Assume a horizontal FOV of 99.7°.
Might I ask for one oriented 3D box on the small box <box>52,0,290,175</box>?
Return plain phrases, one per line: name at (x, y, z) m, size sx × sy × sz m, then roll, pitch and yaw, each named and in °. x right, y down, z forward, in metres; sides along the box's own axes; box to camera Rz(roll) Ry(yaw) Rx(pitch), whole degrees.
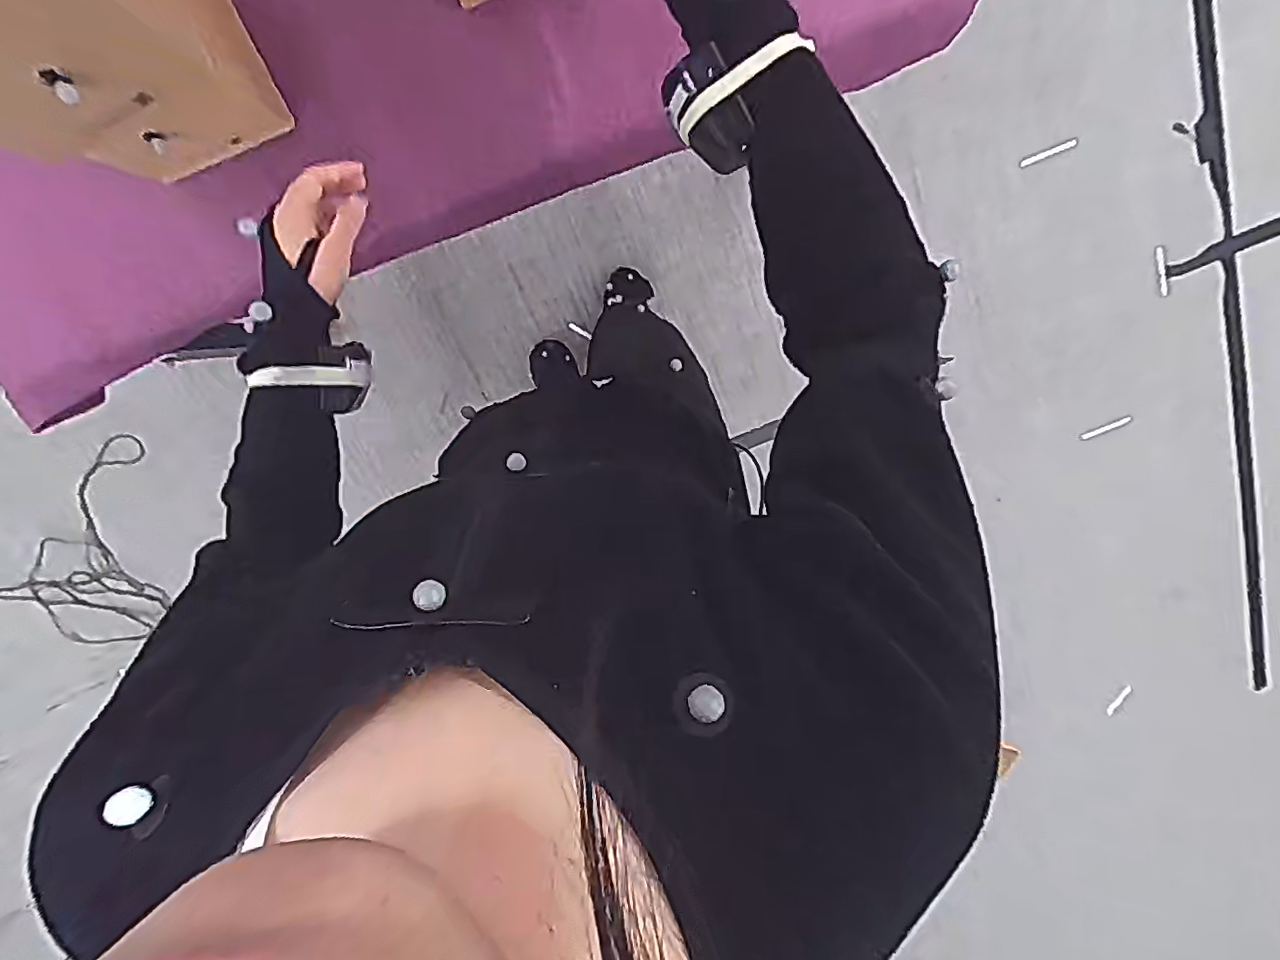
small box at (-0.489, -0.421, 0.520) m, size 0.168 × 0.176 × 0.179 m, roll -24°, pitch 106°, yaw 1°
